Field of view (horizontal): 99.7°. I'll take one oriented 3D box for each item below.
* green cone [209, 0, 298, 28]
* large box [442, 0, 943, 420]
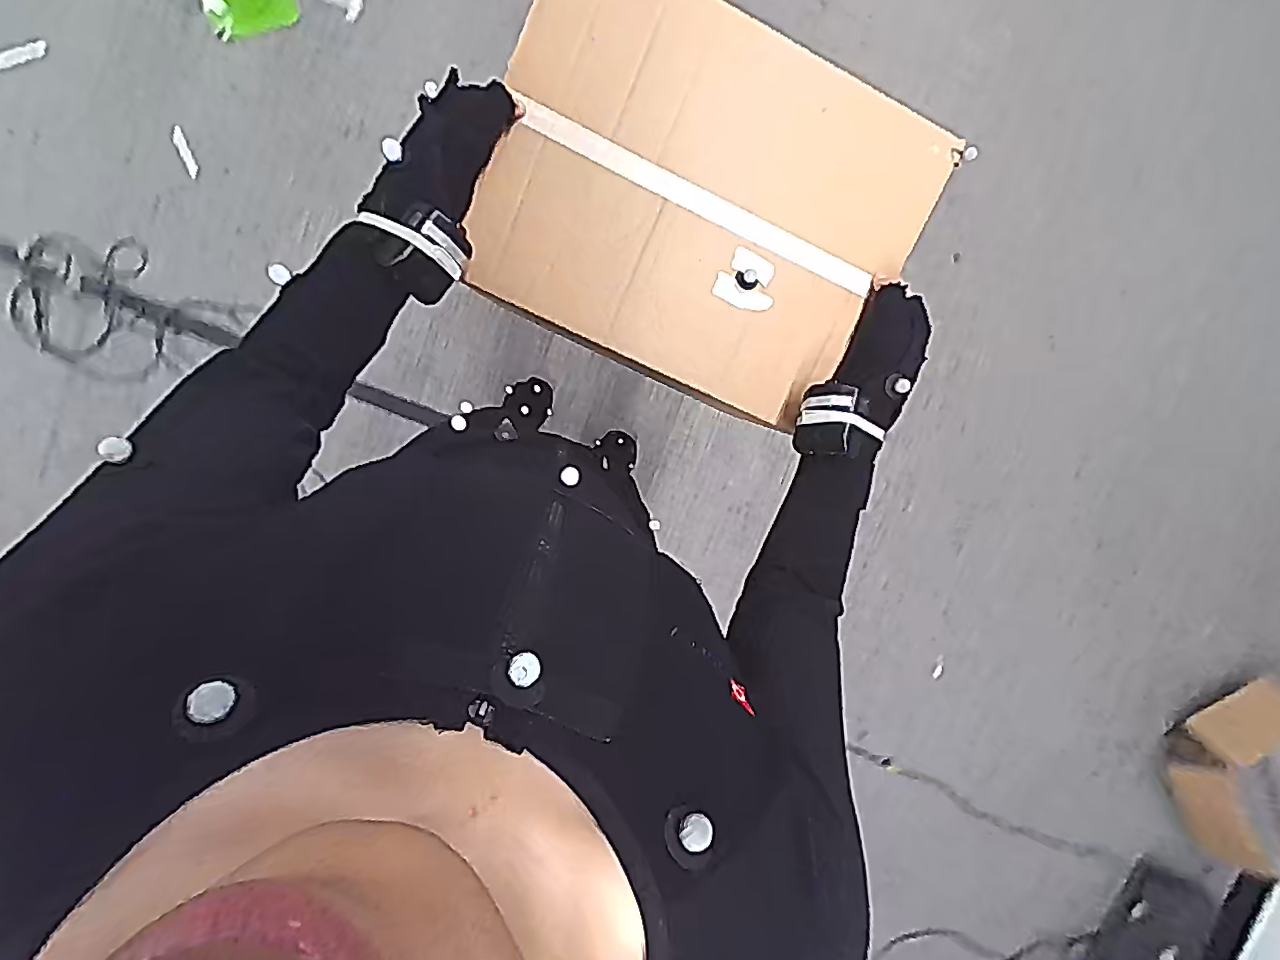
[{"bbox_3d":[-0.901,-1.154,1.084,0.200,0.368,0.202,-16,97,-3],"label":"green cone"},{"bbox_3d":[0.038,-0.296,0.653,0.408,0.320,0.320,22,99,-9],"label":"large box"}]
